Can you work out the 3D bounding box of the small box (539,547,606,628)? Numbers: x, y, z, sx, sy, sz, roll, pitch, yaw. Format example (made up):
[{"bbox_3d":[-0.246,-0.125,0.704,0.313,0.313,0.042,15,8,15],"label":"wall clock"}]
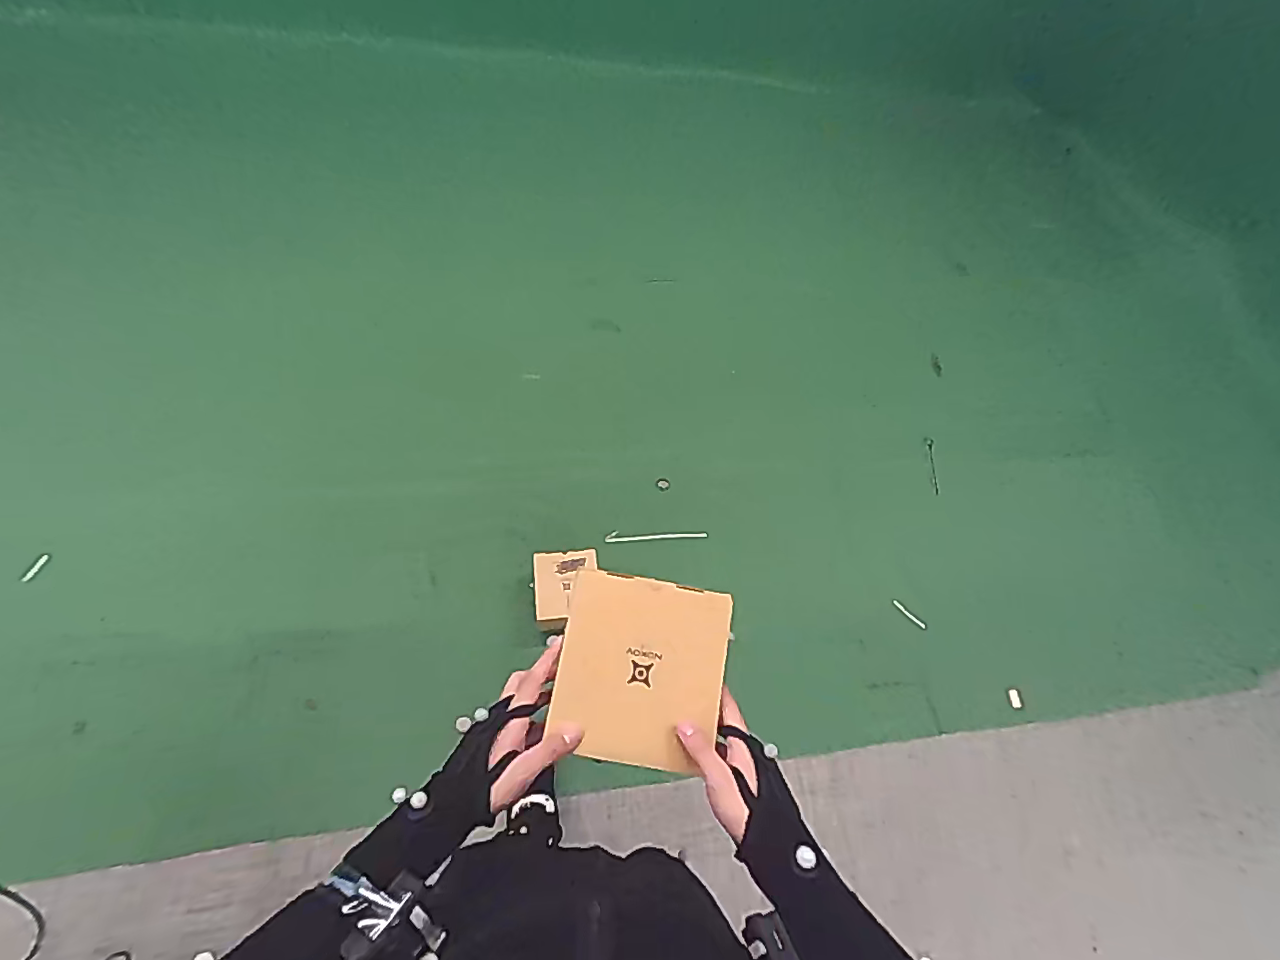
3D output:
[{"bbox_3d":[-0.188,0.293,1.466,0.168,0.176,0.179,-4,67,-10],"label":"small box"}]
